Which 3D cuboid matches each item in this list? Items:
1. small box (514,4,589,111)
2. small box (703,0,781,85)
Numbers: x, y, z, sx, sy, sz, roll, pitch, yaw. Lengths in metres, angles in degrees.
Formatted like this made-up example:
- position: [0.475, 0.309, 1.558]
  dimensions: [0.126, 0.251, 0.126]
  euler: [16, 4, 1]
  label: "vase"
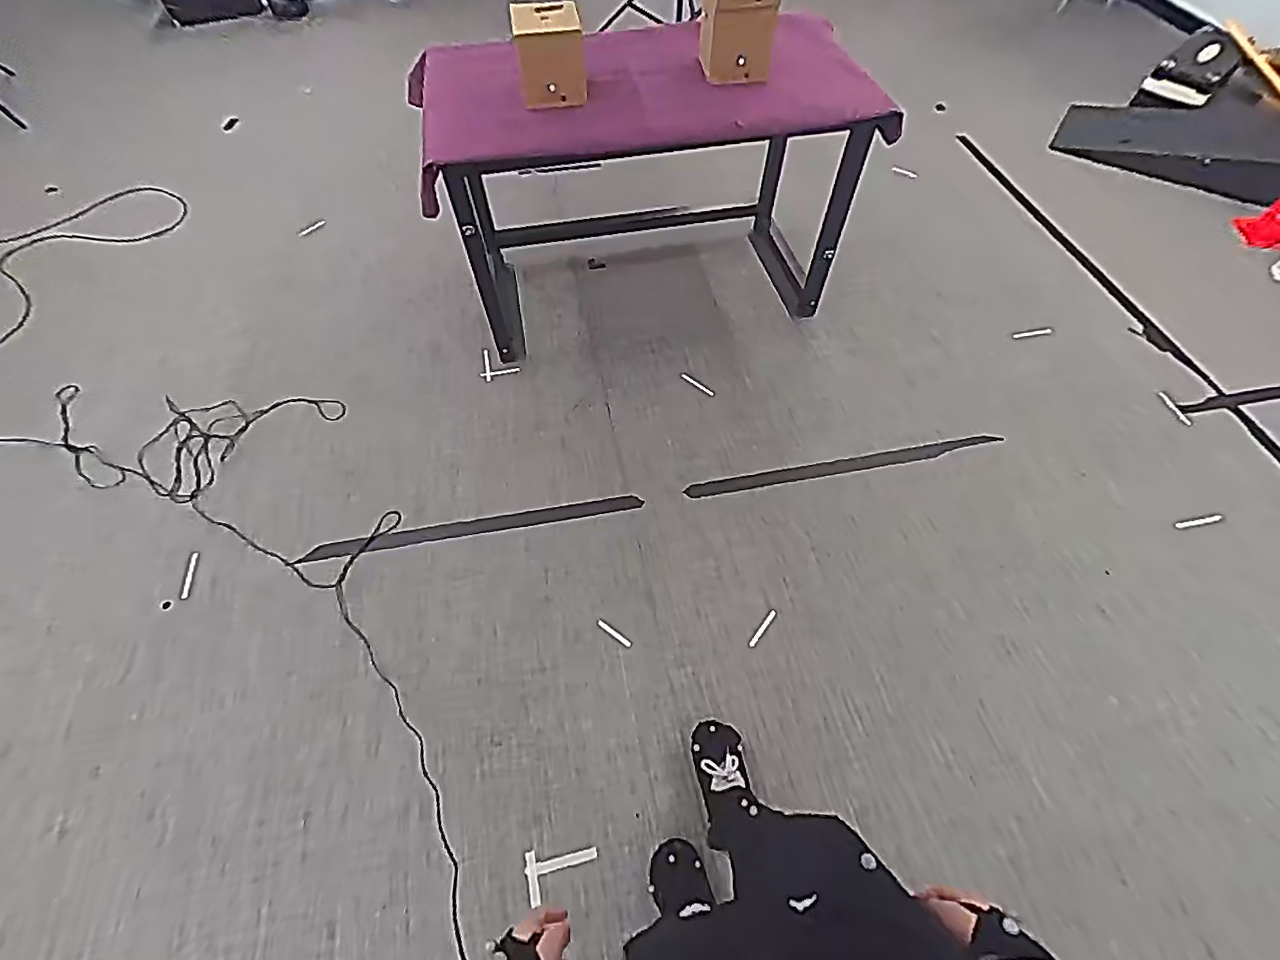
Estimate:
- position: [-0.227, -1.092, 1.401]
  dimensions: [0.168, 0.176, 0.179]
  euler: [-9, 60, -4]
  label: "small box"
- position: [0.266, -1.200, 1.458]
  dimensions: [0.168, 0.176, 0.179]
  euler: [-6, 59, -1]
  label: "small box"
